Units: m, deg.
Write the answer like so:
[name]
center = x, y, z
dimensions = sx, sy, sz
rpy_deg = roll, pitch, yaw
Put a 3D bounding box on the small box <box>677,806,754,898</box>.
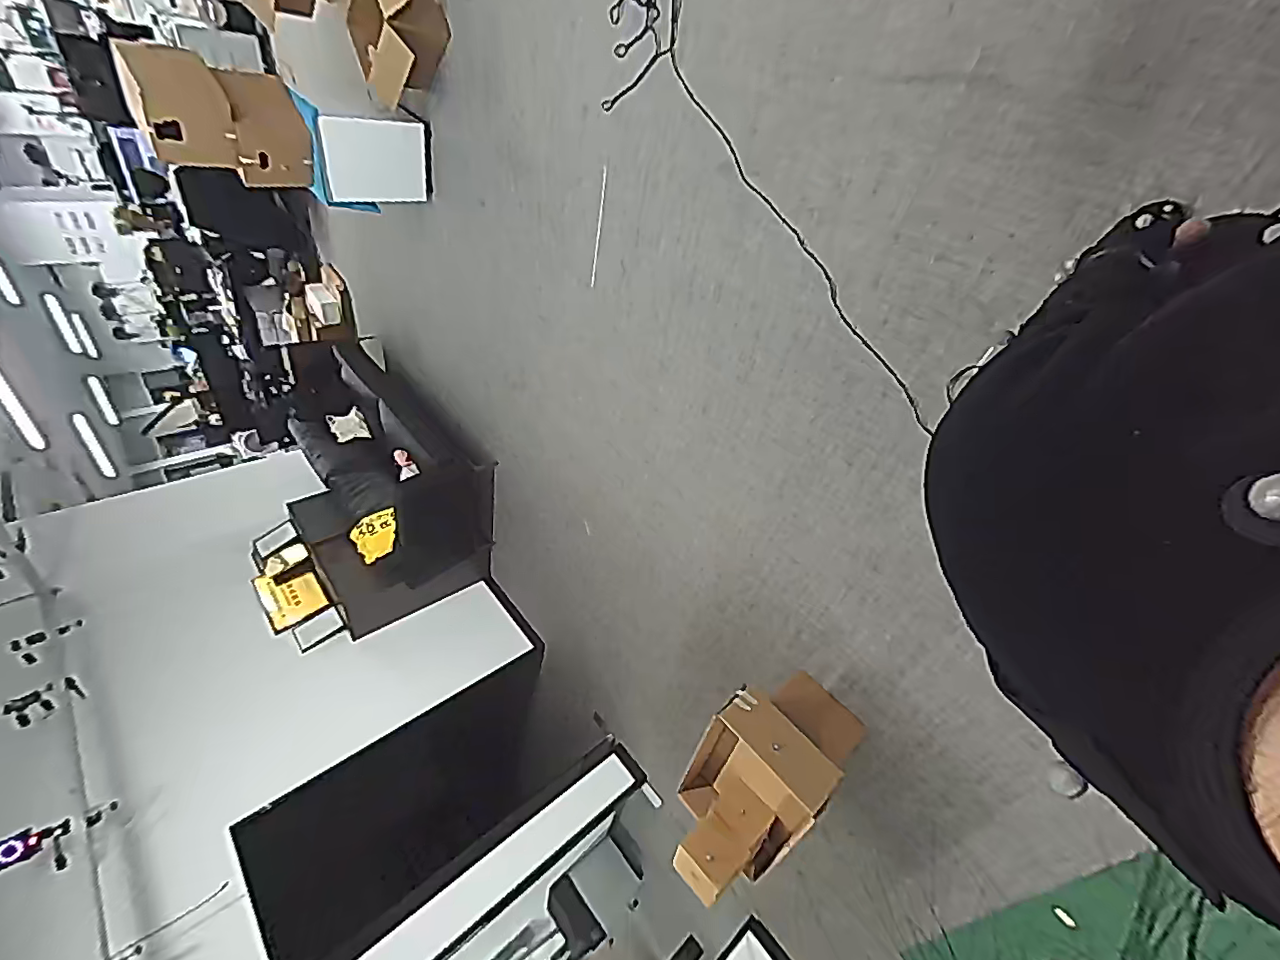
[small box]
center = 0.253, 1.245, 1.828
dimensions = 0.179, 0.176, 0.168
rpy_deg = 35, 133, 33
